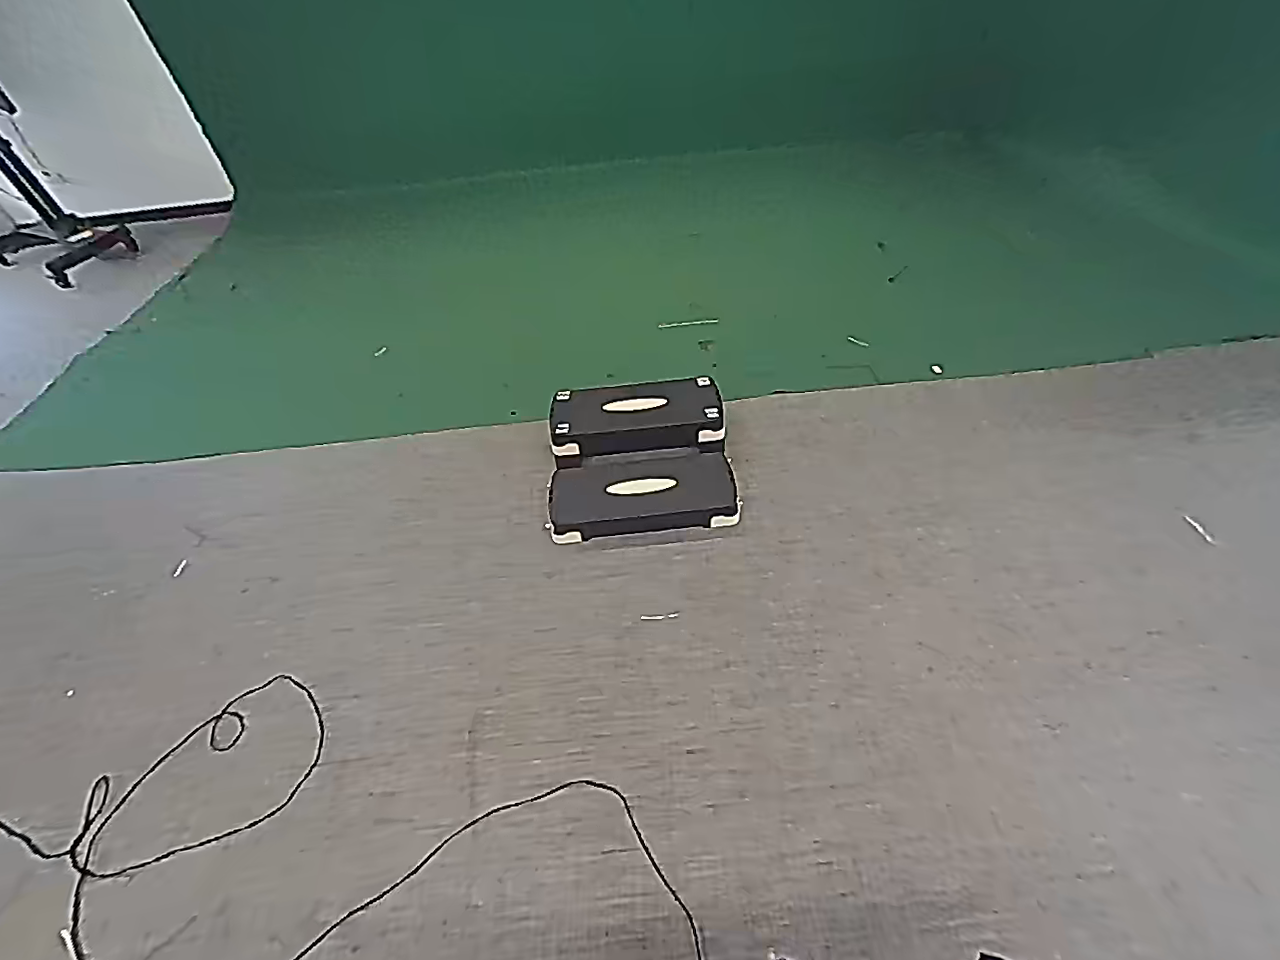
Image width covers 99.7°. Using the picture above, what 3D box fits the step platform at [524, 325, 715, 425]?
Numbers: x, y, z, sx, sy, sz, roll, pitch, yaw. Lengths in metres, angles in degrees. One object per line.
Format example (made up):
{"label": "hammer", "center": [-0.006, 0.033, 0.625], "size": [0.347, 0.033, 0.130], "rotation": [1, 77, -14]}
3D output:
{"label": "step platform", "center": [-0.069, -0.389, 2.007], "size": [0.684, 0.204, 0.286], "rotation": [-6, 47, 1]}
